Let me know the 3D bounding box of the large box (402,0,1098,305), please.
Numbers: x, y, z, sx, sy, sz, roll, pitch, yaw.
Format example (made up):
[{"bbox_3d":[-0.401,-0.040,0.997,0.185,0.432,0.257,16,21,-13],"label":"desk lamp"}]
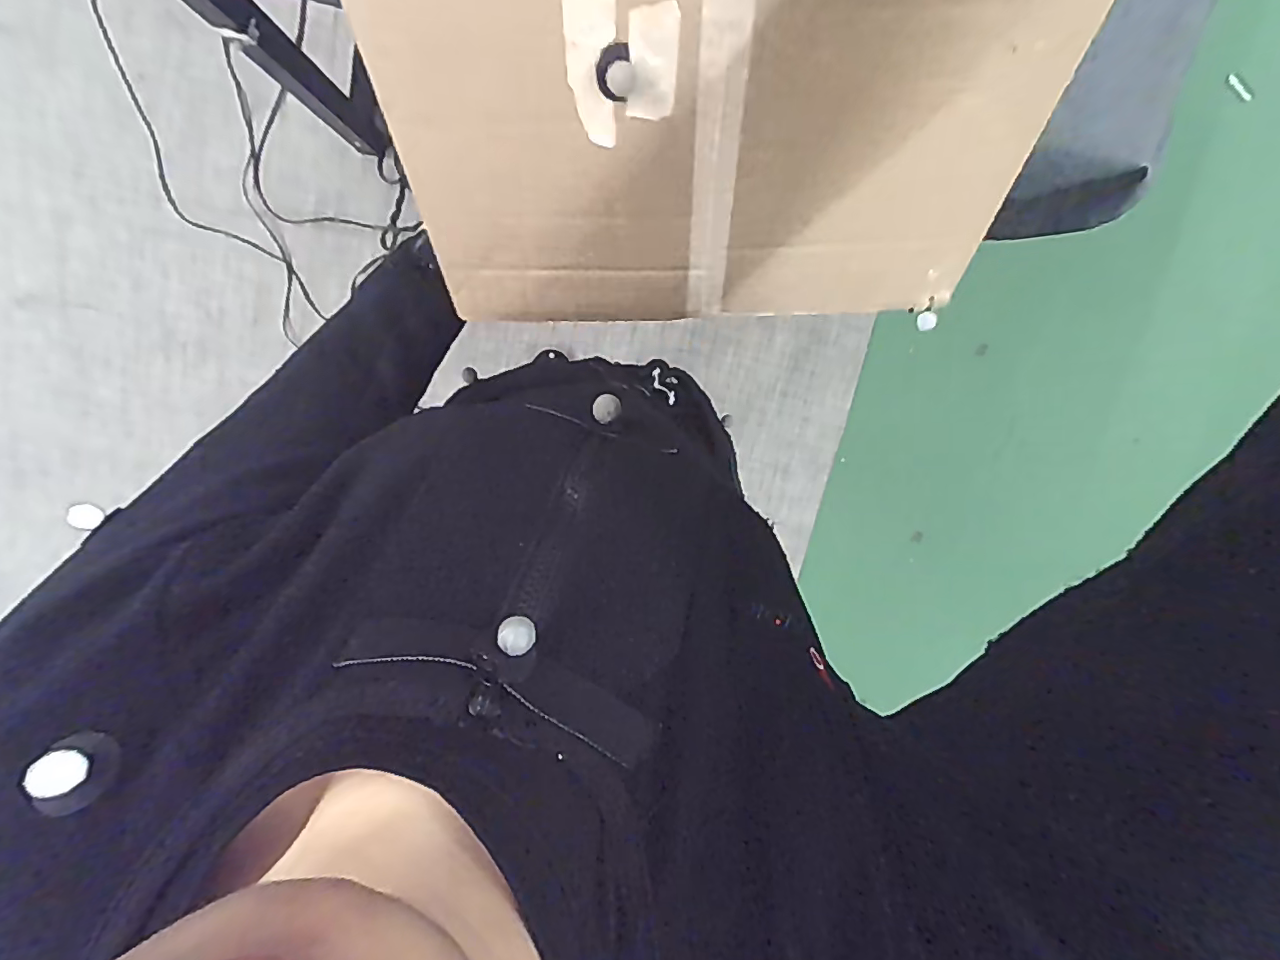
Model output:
[{"bbox_3d":[0.043,-0.359,0.276,0.320,0.408,0.320,-2,58,1],"label":"large box"}]
